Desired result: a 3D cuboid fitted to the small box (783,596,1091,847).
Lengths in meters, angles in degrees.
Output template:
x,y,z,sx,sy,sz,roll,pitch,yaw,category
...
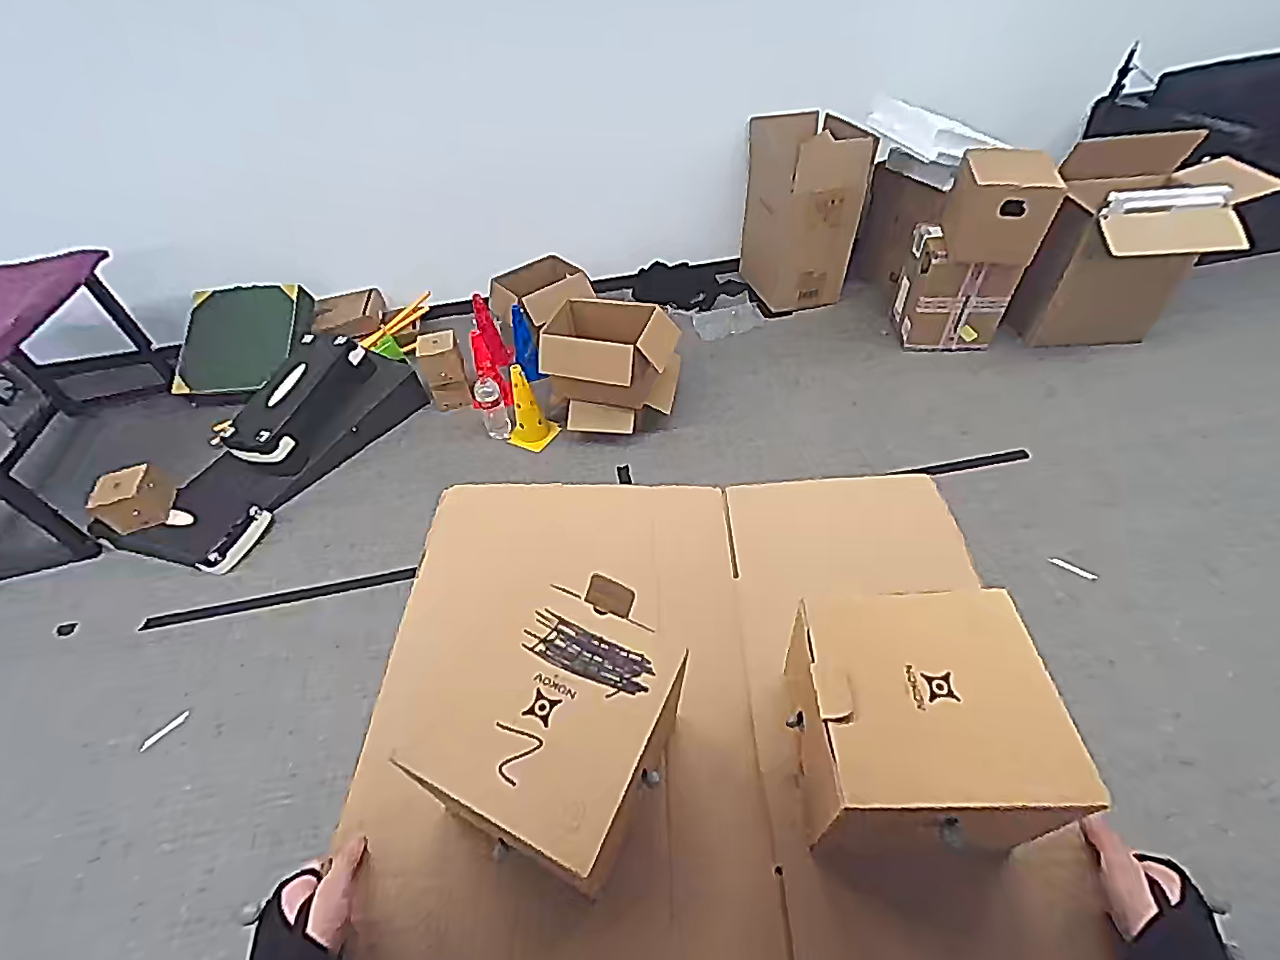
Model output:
x,y,z,sx,sy,sz,roll,pitch,yaw,category
0.236,0.221,0.491,0.179,0.176,0.168,-4,48,5,small box
